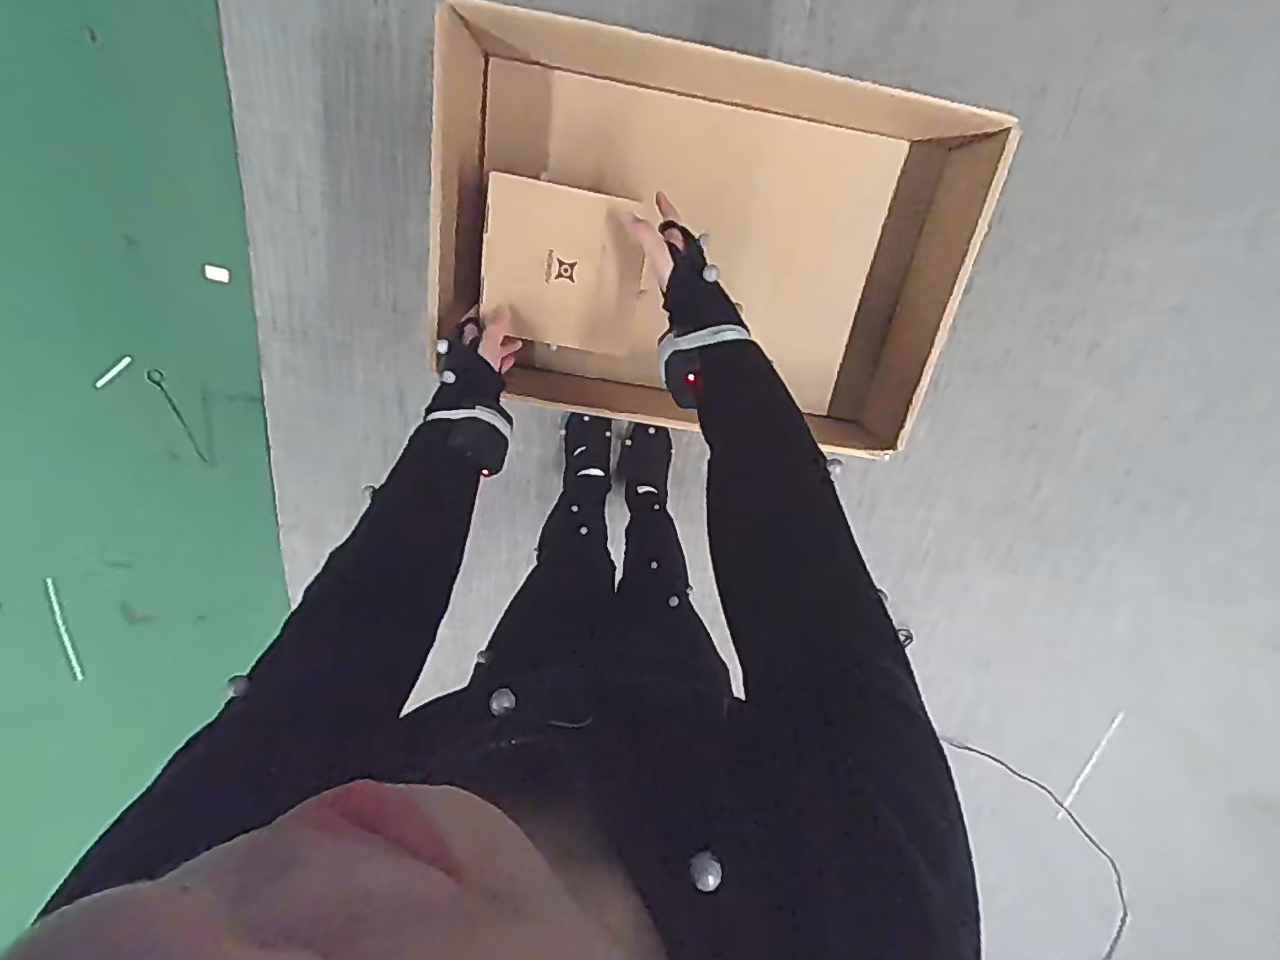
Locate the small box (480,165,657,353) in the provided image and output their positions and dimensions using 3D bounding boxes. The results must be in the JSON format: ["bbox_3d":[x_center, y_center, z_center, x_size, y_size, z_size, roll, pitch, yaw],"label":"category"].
[{"bbox_3d":[-0.080,-0.266,0.664,0.179,0.176,0.168,11,113,-3],"label":"small box"}]
